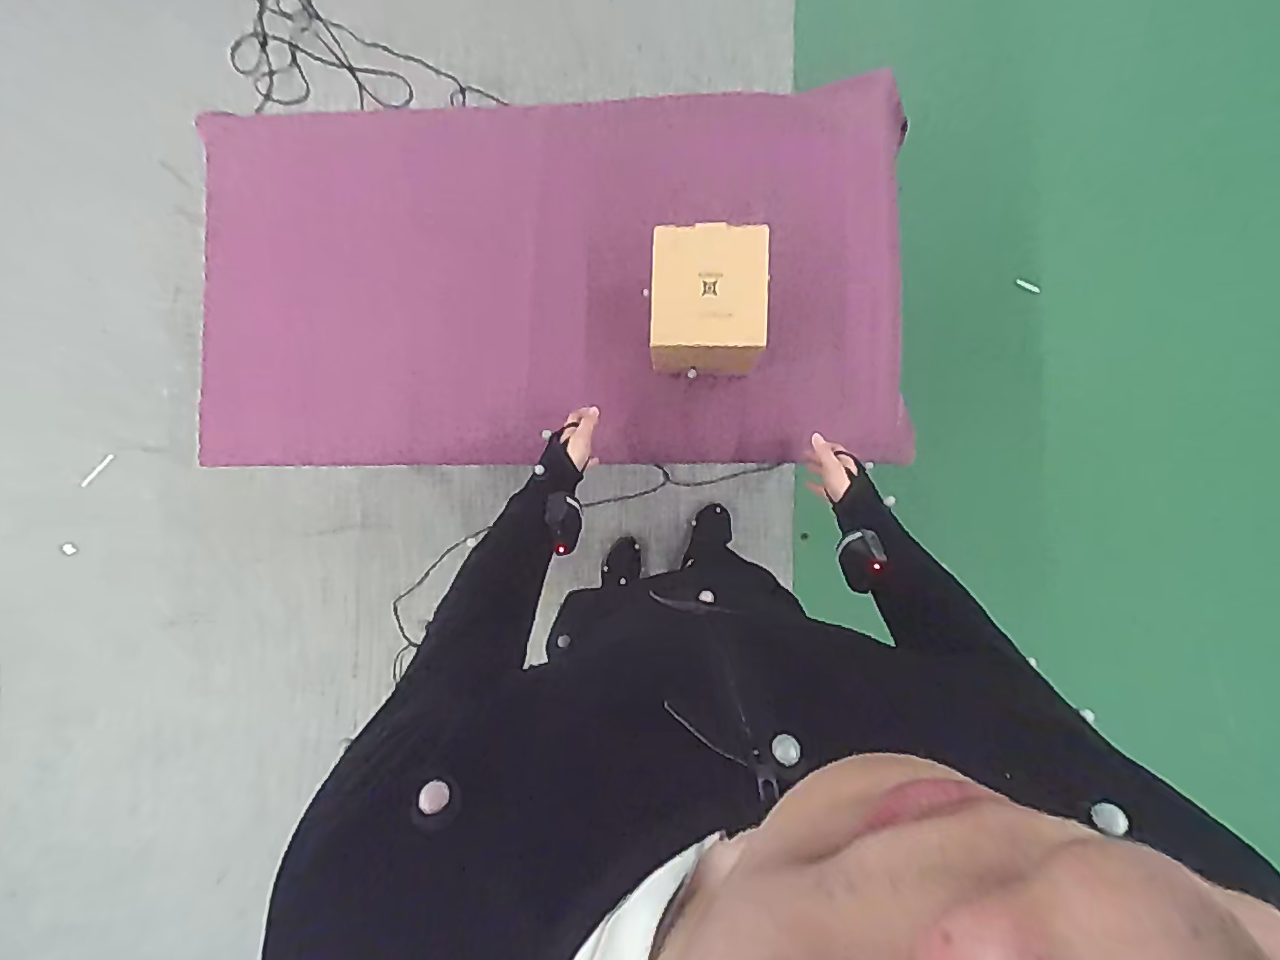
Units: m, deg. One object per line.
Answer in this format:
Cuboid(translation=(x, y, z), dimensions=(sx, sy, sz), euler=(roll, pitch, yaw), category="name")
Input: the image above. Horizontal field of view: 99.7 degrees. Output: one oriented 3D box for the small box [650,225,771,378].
Cuboid(translation=(0.103, -0.268, 0.836), dimensions=(0.168, 0.176, 0.179), euler=(2, 87, 5), category="small box")
